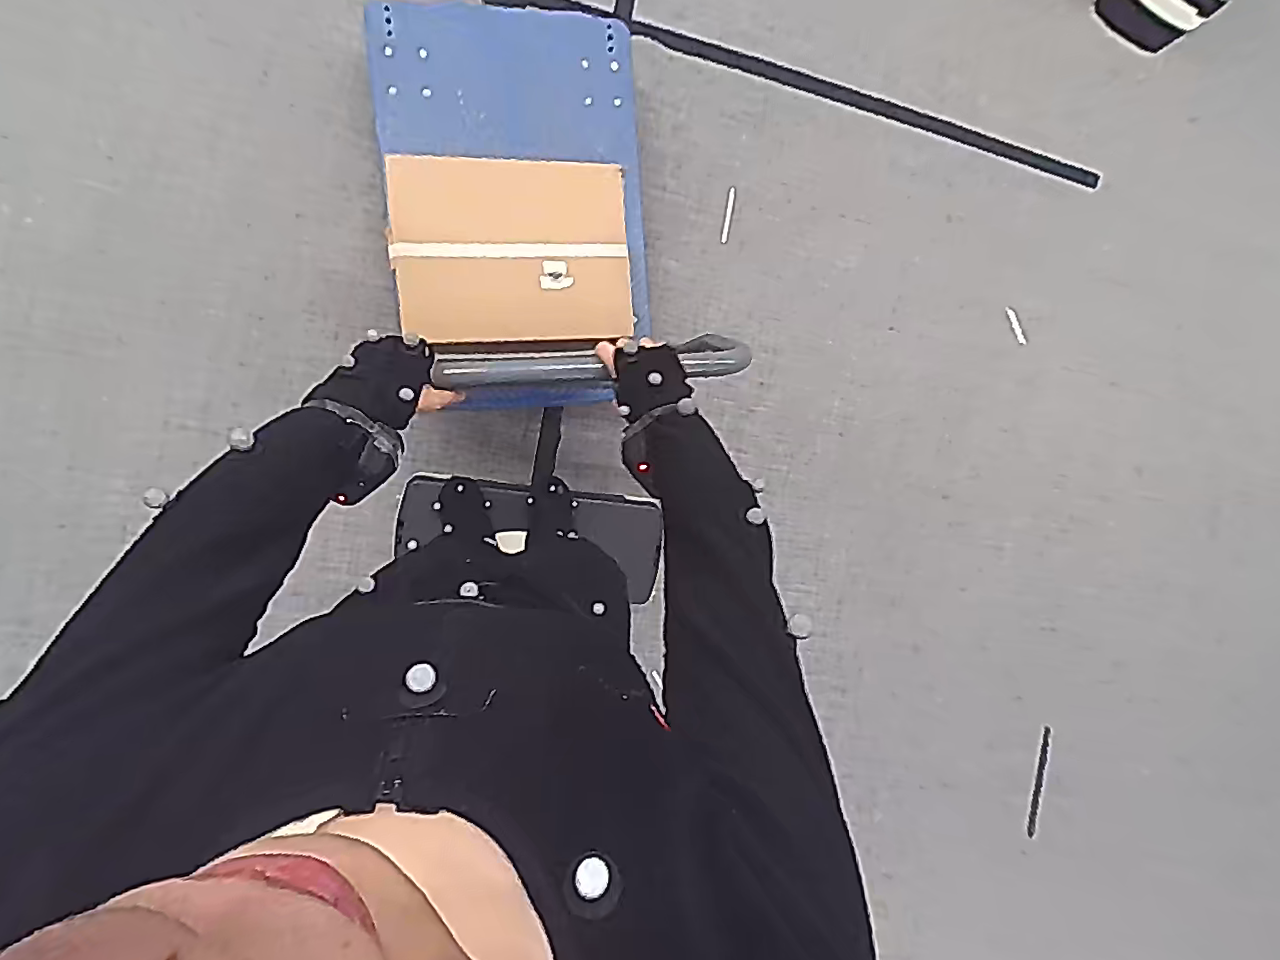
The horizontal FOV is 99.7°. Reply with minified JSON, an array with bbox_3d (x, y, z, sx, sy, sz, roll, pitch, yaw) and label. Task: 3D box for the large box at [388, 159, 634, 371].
[{"bbox_3d":[-0.251,-0.409,1.096,0.408,0.320,0.320,-6,95,-14],"label":"large box"}]
